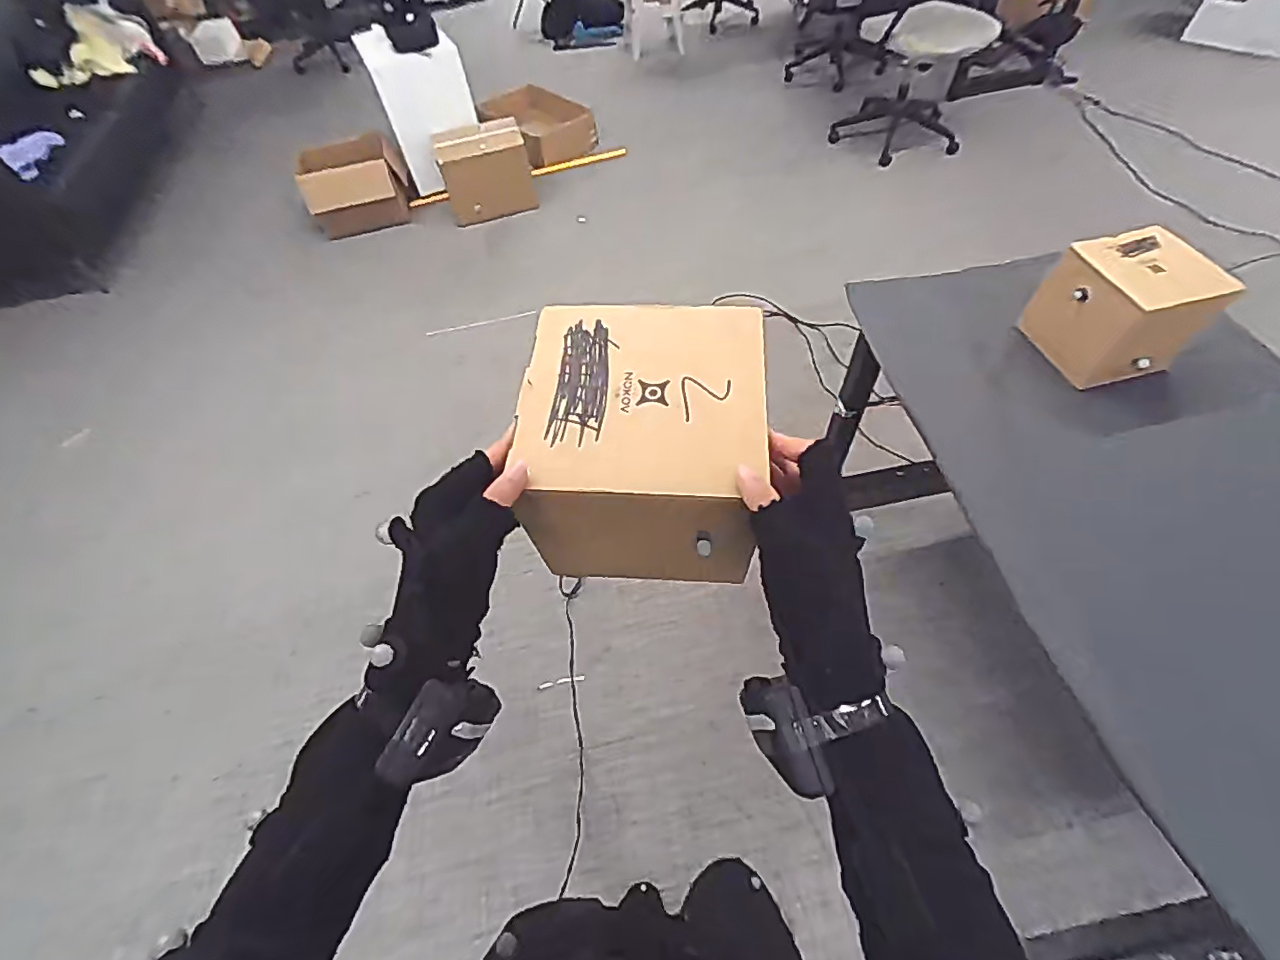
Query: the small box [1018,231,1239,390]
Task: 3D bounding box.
[{"bbox_3d":[0.784,-0.278,0.897,0.168,0.176,0.179,-13,56,-4],"label":"small box"}]
